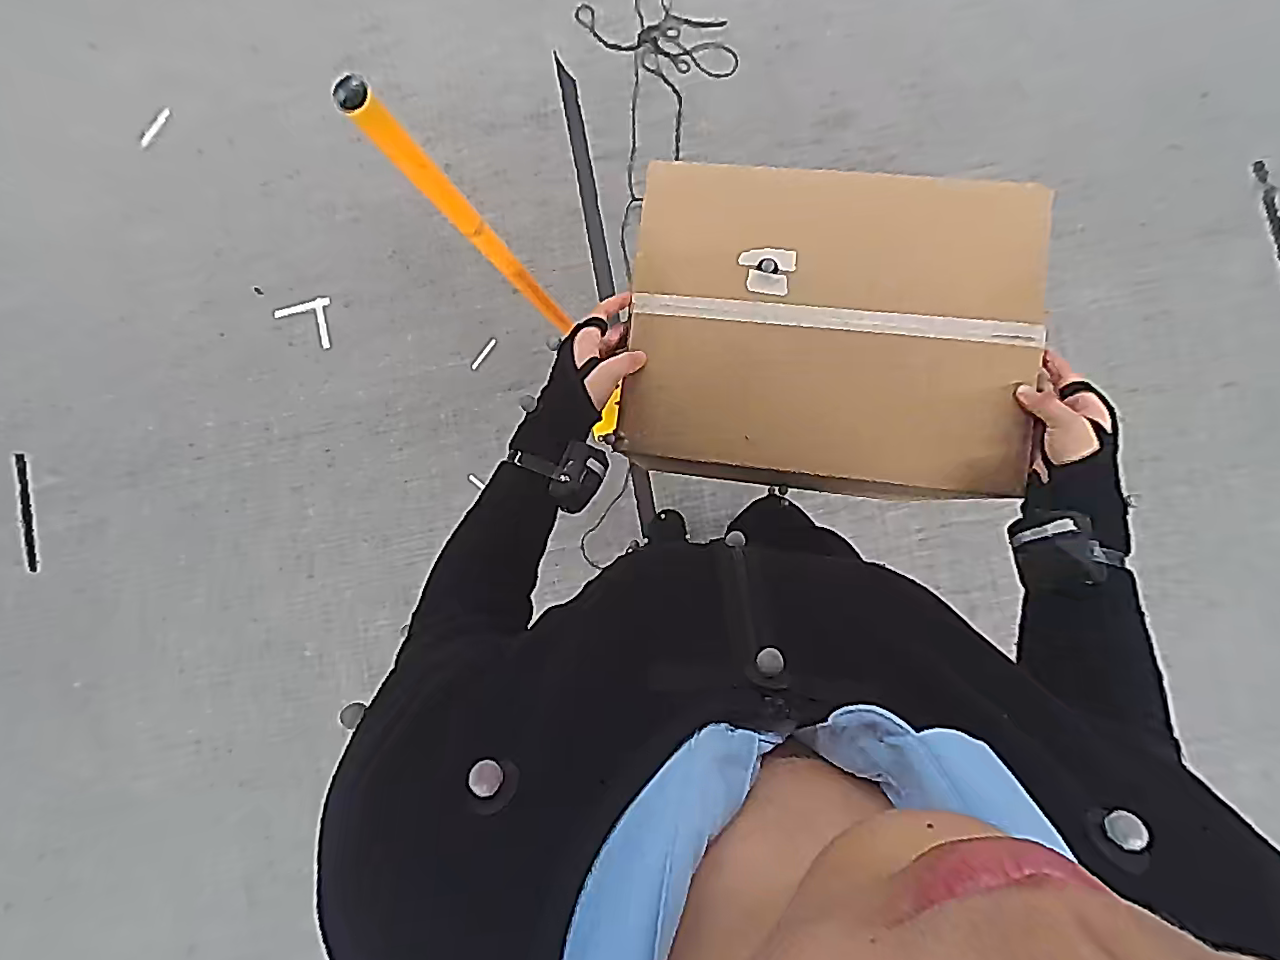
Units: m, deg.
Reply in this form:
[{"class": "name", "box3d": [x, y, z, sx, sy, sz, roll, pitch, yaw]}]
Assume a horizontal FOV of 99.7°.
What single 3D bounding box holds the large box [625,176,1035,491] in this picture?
[{"class": "large box", "box3d": [0.210, -0.157, 0.709, 0.408, 0.320, 0.320, 5, 86, 6]}]
